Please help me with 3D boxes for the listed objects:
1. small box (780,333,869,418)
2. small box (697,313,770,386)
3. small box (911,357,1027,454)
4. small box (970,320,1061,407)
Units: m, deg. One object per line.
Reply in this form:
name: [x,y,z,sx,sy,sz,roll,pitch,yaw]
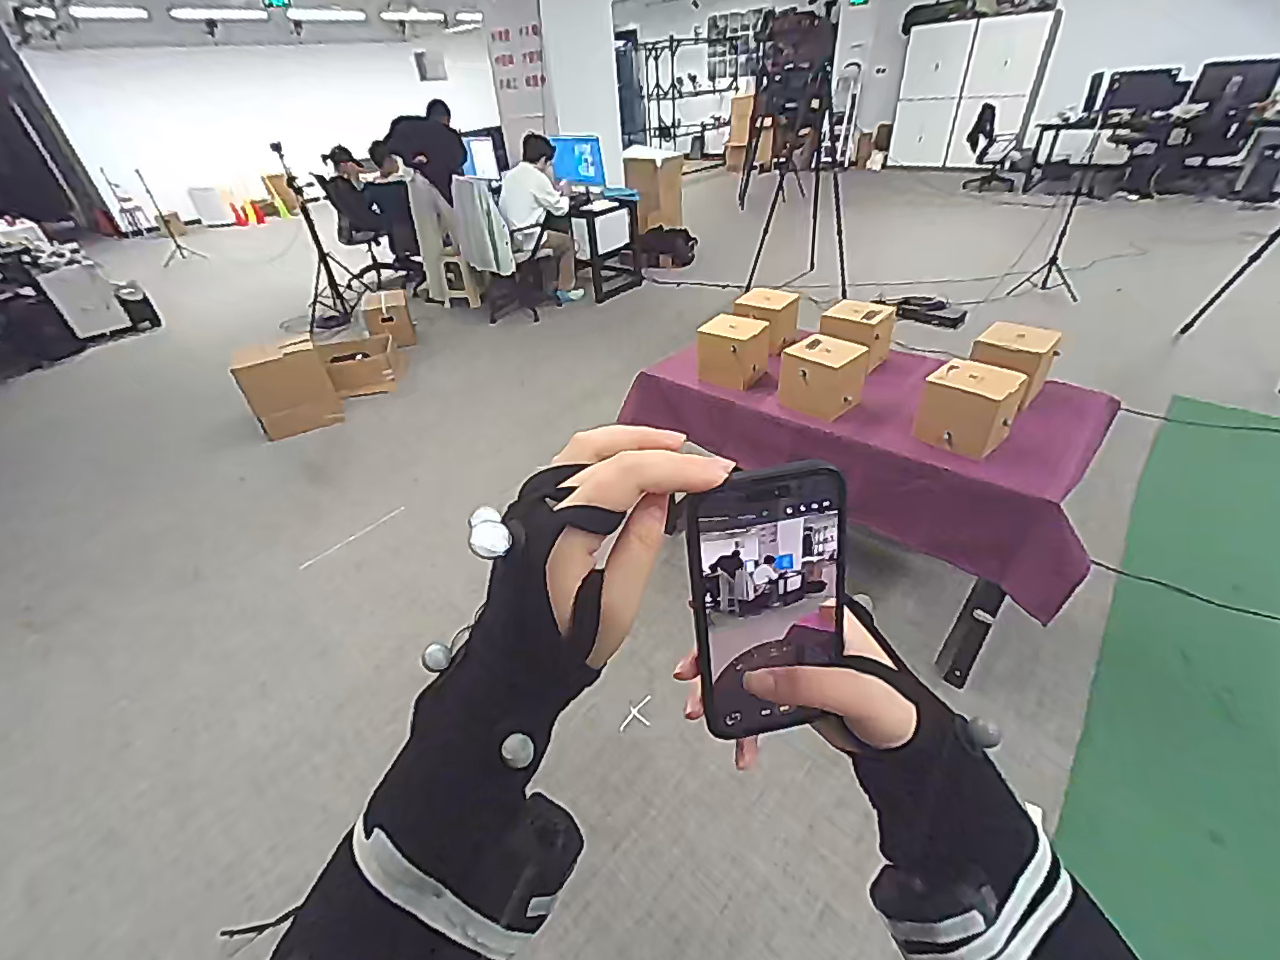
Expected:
small box: [0.518,-0.298,1.544,0.168,0.176,0.179,-31,44,-30]
small box: [0.295,-0.416,1.730,0.179,0.176,0.168,22,44,30]
small box: [0.815,-0.184,1.353,0.168,0.176,0.179,-30,43,-30]
small box: [1.036,-0.330,1.522,0.179,0.176,0.168,-33,44,-32]
